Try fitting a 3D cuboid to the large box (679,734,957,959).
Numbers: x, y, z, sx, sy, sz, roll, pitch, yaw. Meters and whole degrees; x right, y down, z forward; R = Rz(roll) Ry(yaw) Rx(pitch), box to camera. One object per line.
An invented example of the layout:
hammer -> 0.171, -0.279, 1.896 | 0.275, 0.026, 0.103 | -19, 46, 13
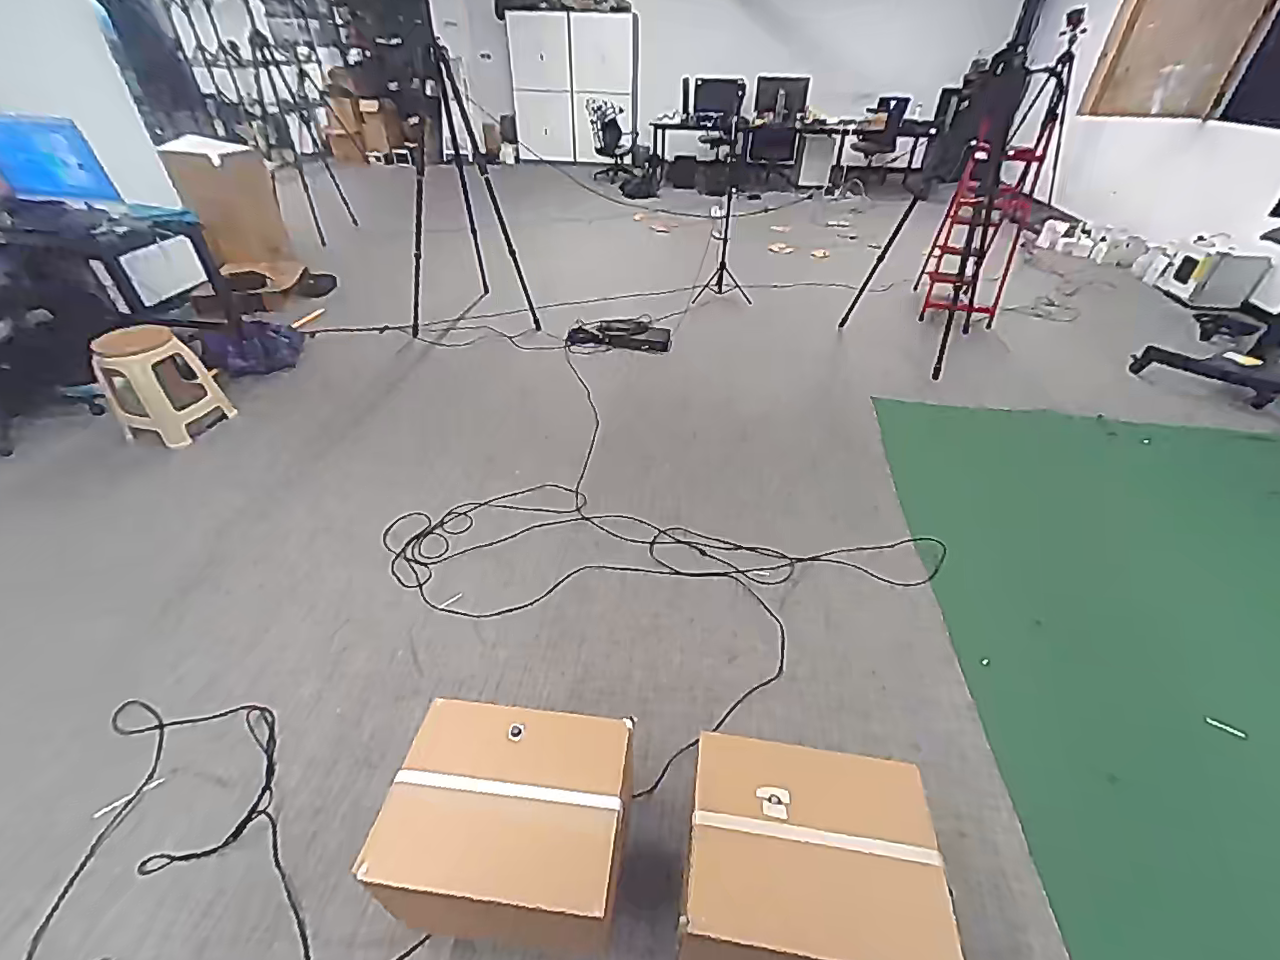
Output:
large box -> 0.293, 0.722, 1.007 | 0.408, 0.320, 0.320 | 6, 39, 7
